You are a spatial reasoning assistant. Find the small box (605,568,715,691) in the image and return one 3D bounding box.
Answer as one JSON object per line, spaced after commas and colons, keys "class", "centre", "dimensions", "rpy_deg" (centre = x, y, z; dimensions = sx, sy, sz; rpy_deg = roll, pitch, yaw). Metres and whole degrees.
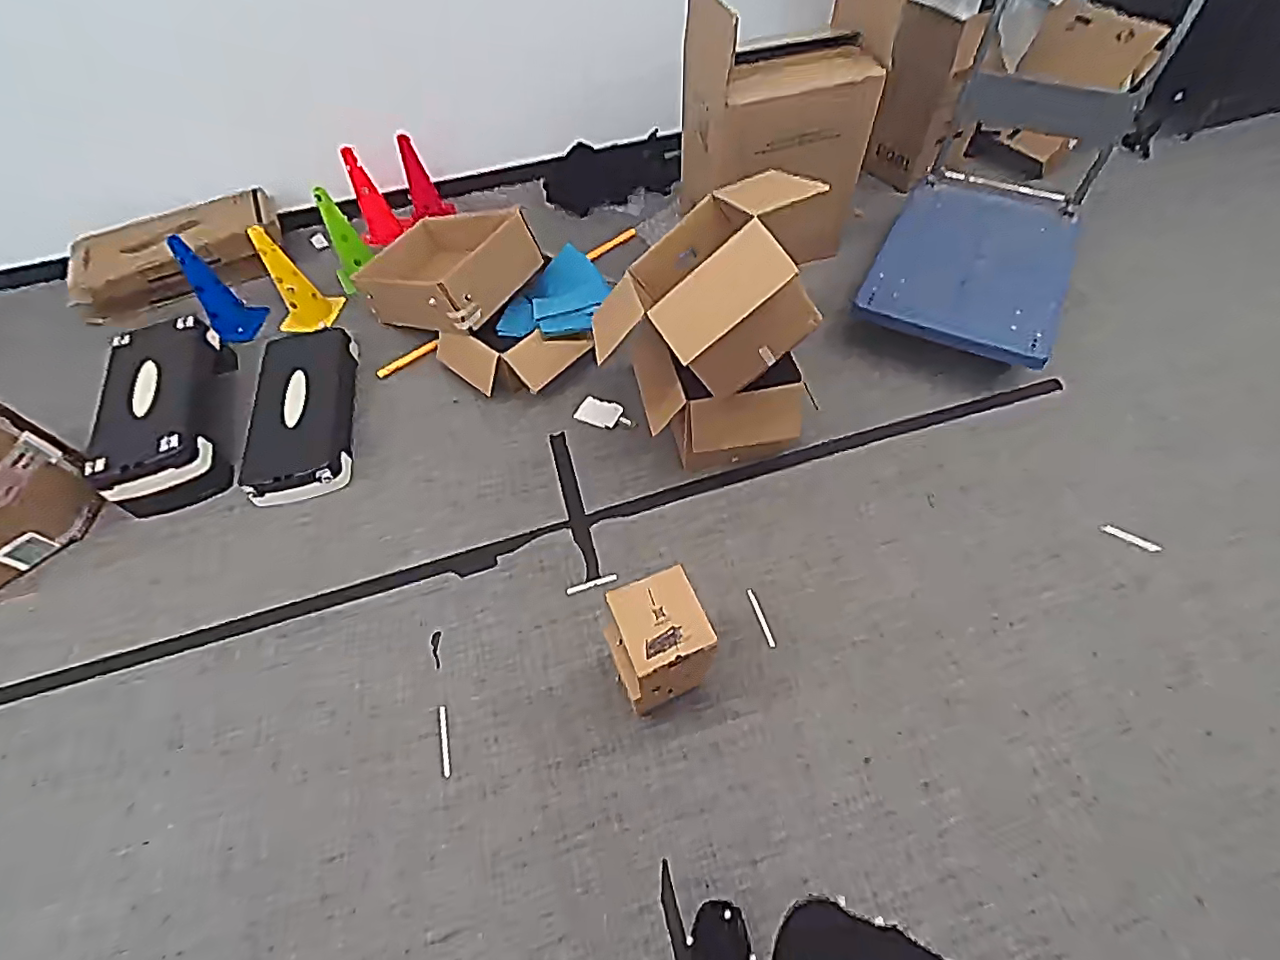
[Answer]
{"class": "small box", "centre": [0.040, 0.313, 1.104], "dimensions": [0.168, 0.176, 0.179], "rpy_deg": [-20, 57, -10]}
